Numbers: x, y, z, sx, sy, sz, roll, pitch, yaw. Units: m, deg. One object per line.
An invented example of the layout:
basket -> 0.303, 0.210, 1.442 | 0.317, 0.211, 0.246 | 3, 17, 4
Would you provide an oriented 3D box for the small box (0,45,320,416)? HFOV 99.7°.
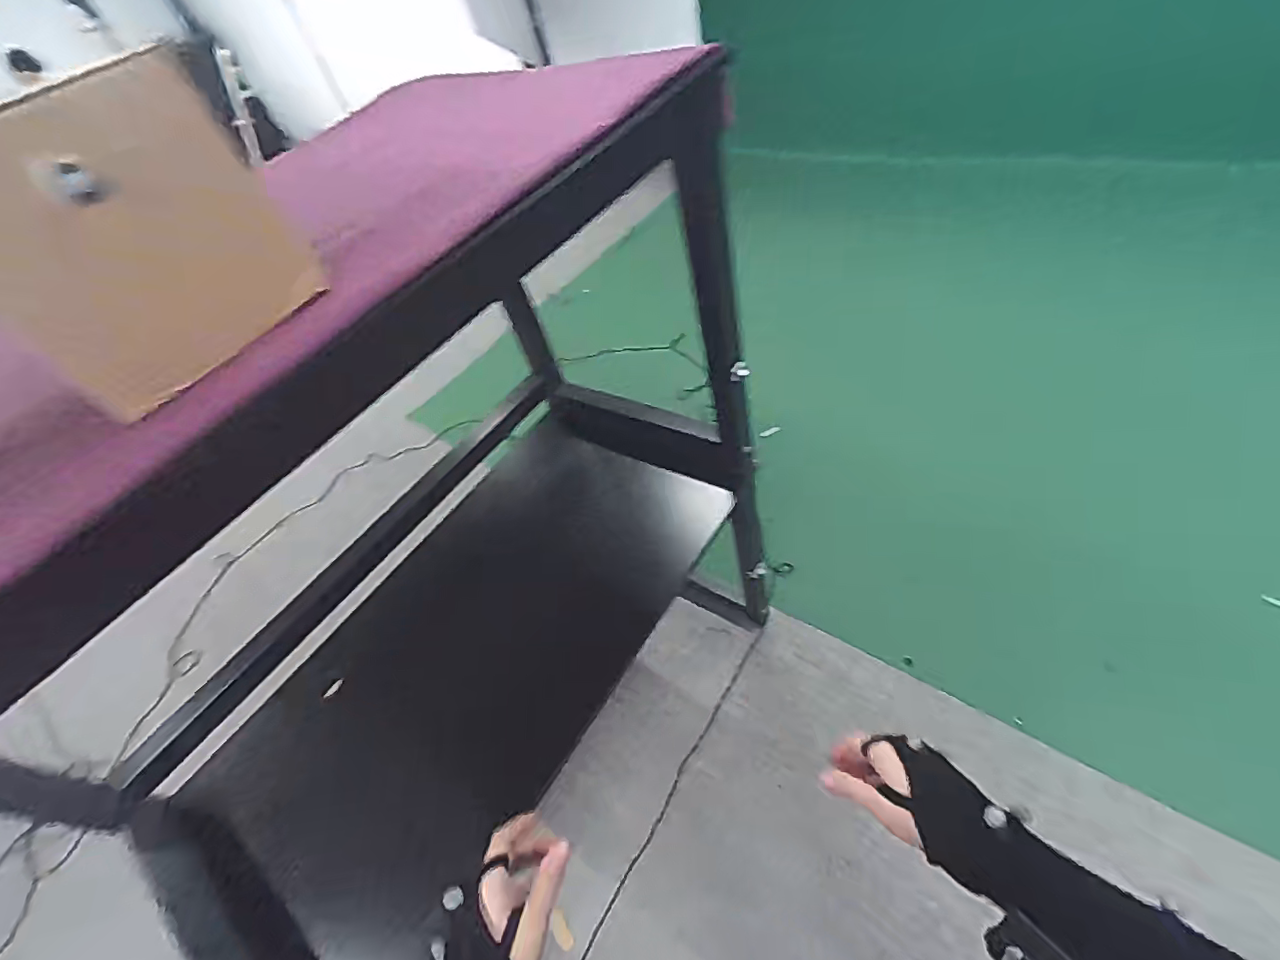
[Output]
small box -> -0.386, -0.172, 0.391 | 0.168, 0.176, 0.179 | 20, 58, 31
